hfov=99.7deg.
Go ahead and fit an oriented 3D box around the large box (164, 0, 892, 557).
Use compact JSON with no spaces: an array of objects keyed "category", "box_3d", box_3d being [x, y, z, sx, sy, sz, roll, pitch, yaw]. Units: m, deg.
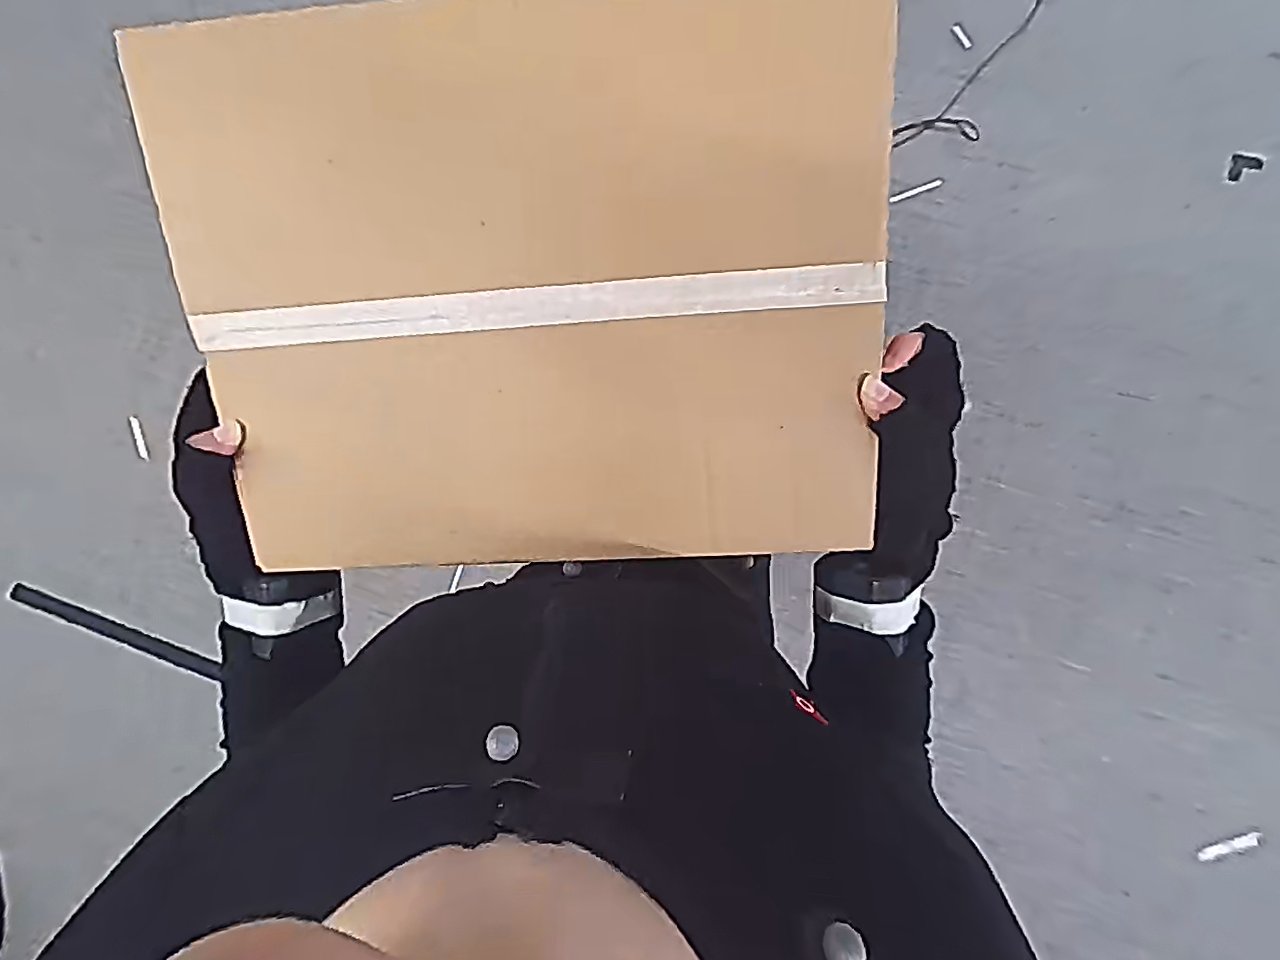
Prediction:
[{"category":"large box","box_3d":[-0.053,-0.142,0.466,0.408,0.320,0.320,-2,106,4]}]
